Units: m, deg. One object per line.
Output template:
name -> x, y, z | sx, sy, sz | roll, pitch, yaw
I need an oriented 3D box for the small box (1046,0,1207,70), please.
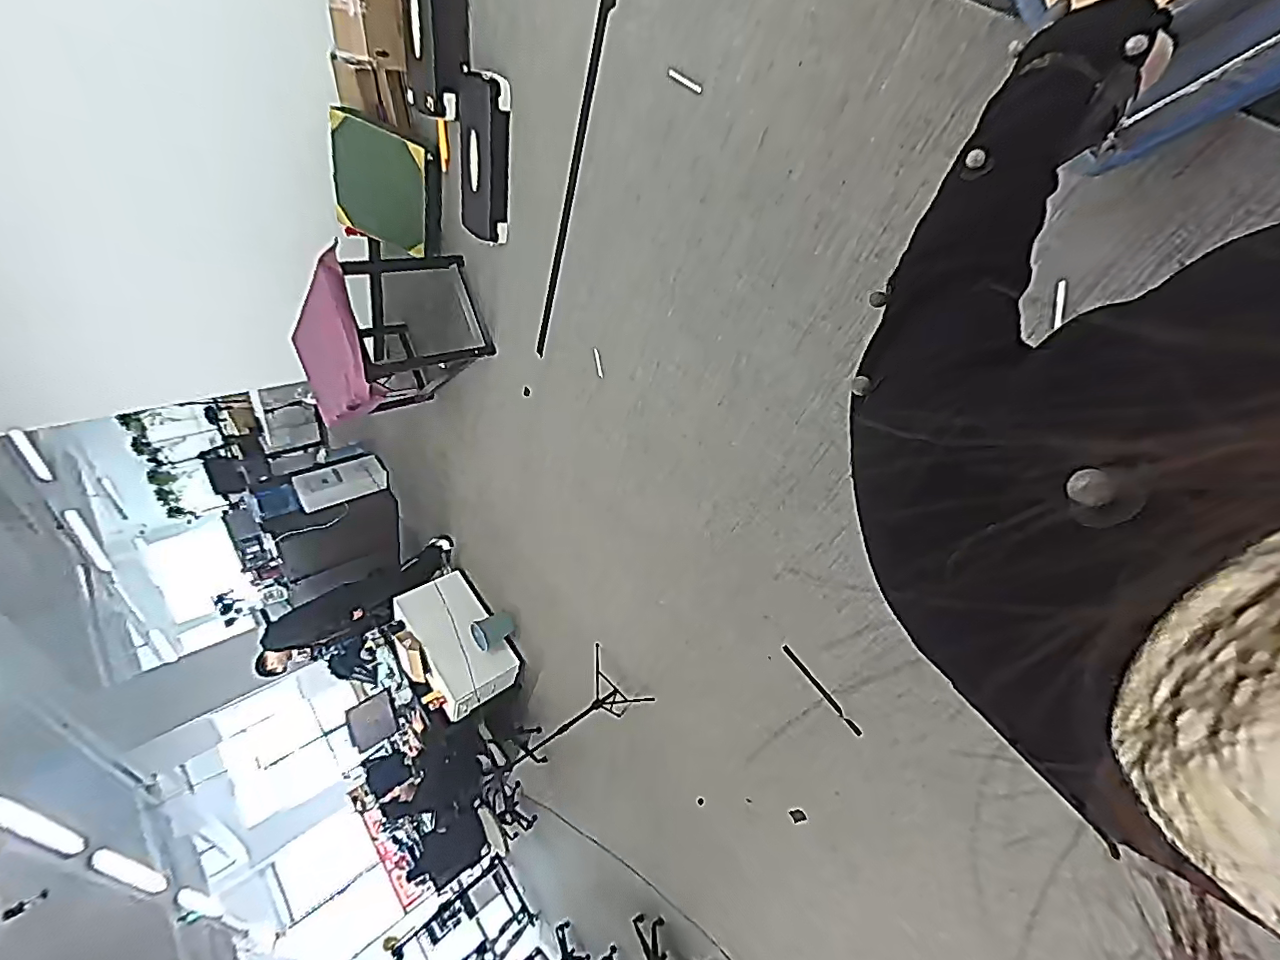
small box -> 0.719, -0.747, 0.795 | 0.168, 0.176, 0.179 | -25, 89, 51
